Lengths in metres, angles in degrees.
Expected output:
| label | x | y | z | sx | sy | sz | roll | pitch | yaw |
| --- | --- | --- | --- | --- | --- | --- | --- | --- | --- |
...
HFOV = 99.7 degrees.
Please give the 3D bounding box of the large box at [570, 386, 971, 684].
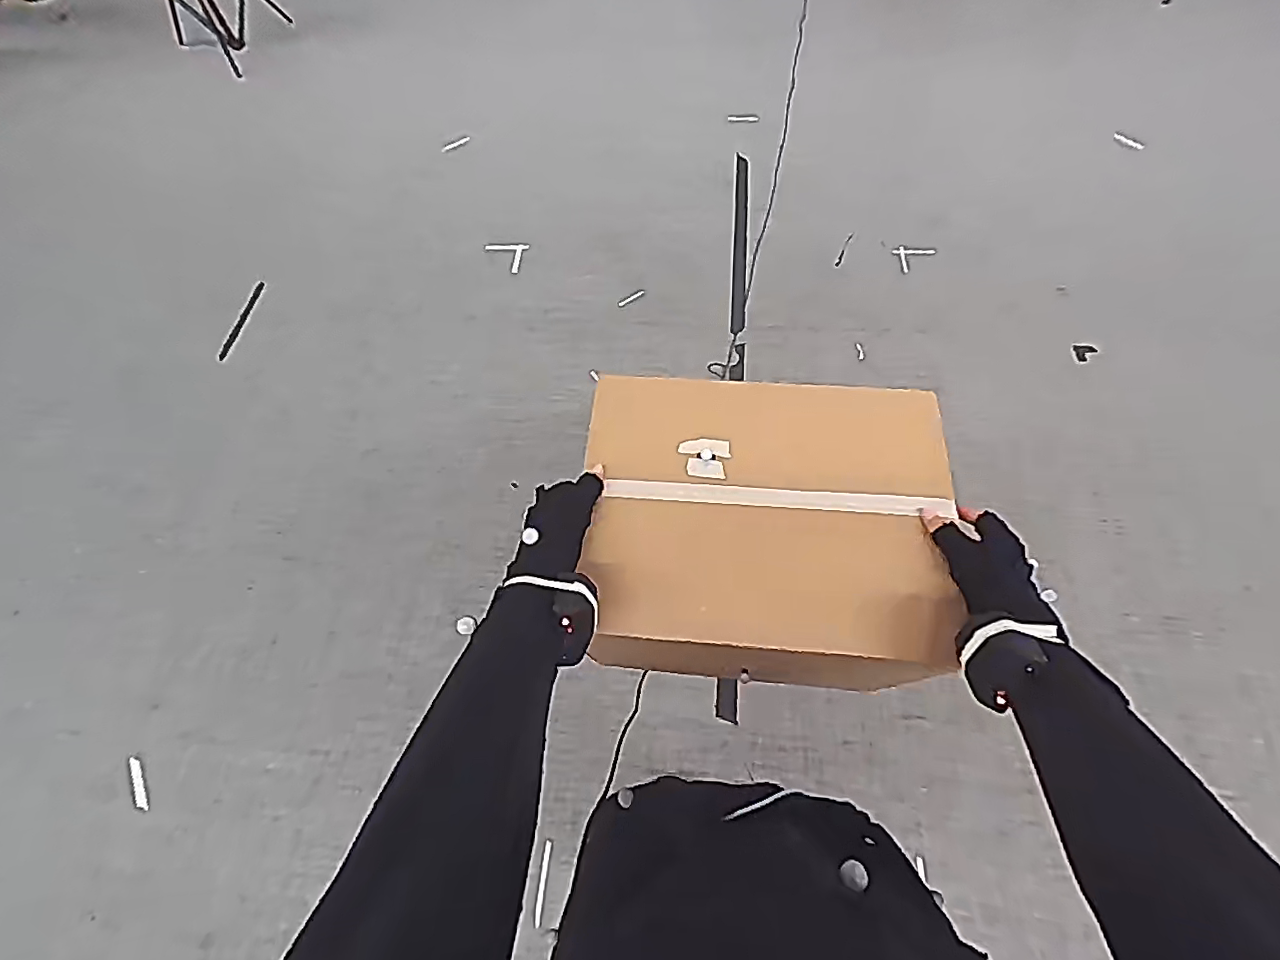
| label | x | y | z | sx | sy | sz | roll | pitch | yaw |
| --- | --- | --- | --- | --- | --- | --- | --- | --- | --- |
| large box | 0.149 | 0.090 | 0.736 | 0.408 | 0.320 | 0.320 | 4 | 64 | 6 |
